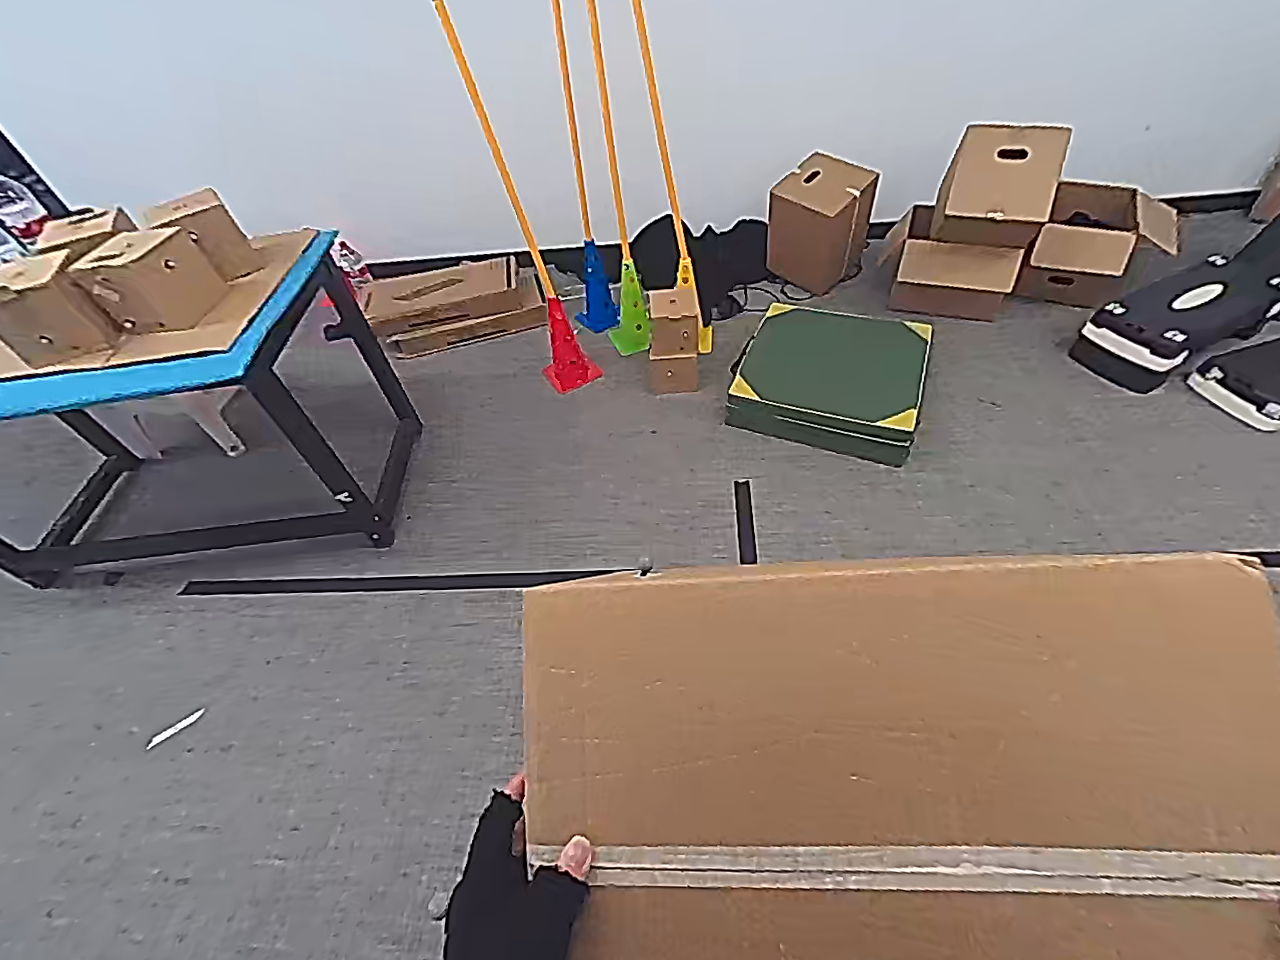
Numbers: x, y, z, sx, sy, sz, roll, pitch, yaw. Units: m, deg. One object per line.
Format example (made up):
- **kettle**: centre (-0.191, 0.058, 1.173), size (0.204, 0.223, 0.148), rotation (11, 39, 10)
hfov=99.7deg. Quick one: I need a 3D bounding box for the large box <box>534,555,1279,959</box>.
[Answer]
- **large box**: centre (0.156, 0.233, 0.449), size (0.408, 0.320, 0.320), rotation (-5, 82, 8)
